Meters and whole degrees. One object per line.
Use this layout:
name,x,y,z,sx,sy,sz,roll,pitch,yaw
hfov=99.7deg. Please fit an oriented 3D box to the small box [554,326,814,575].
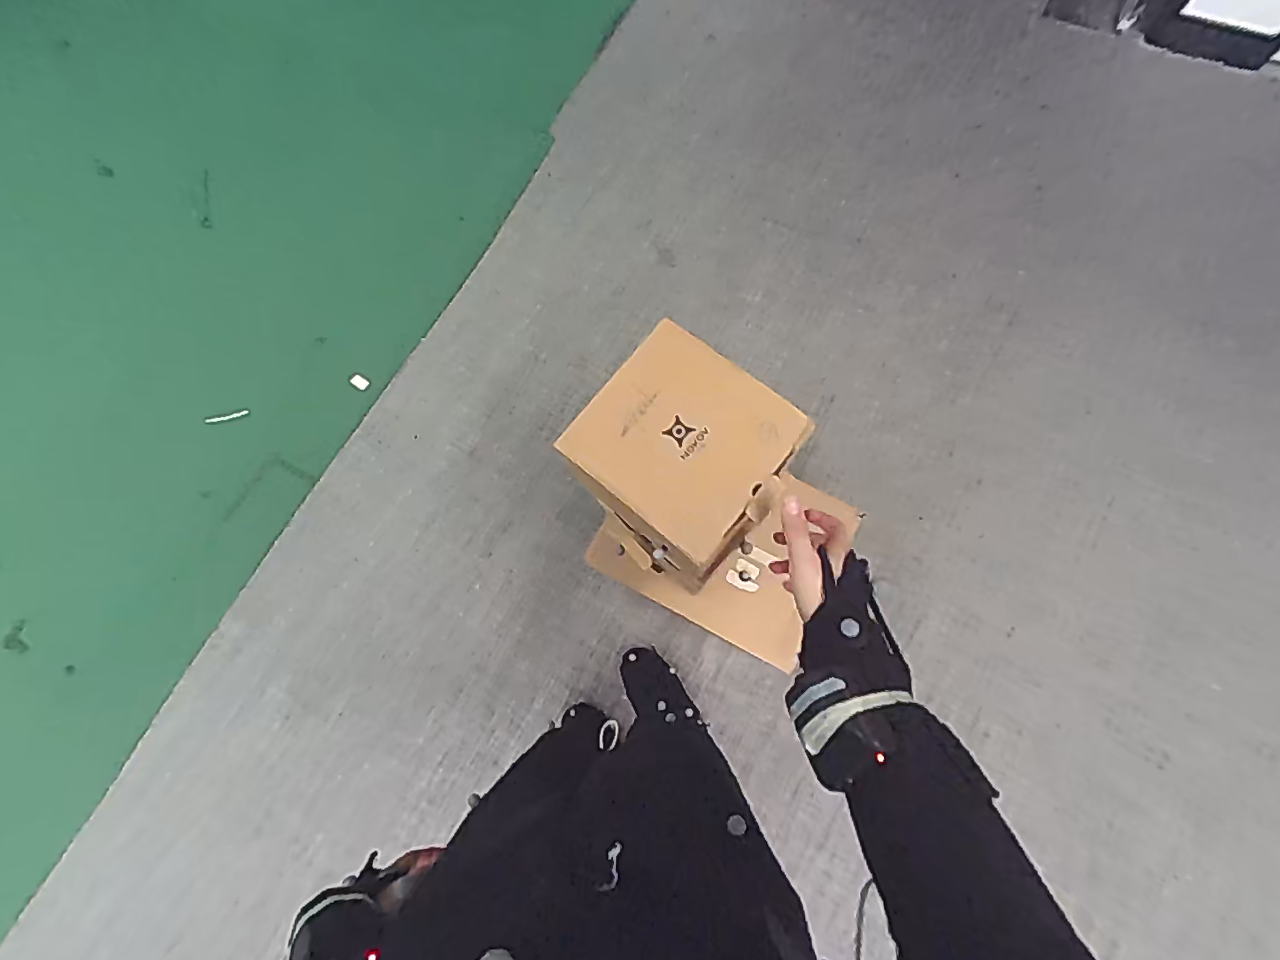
small box,0.045,-0.016,0.559,0.179,0.176,0.168,37,81,13

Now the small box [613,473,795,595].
small box,0.072,0.032,0.712,0.168,0.176,0.179,41,83,13

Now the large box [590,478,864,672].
large box,0.161,0.139,1.098,0.408,0.320,0.320,27,80,10
